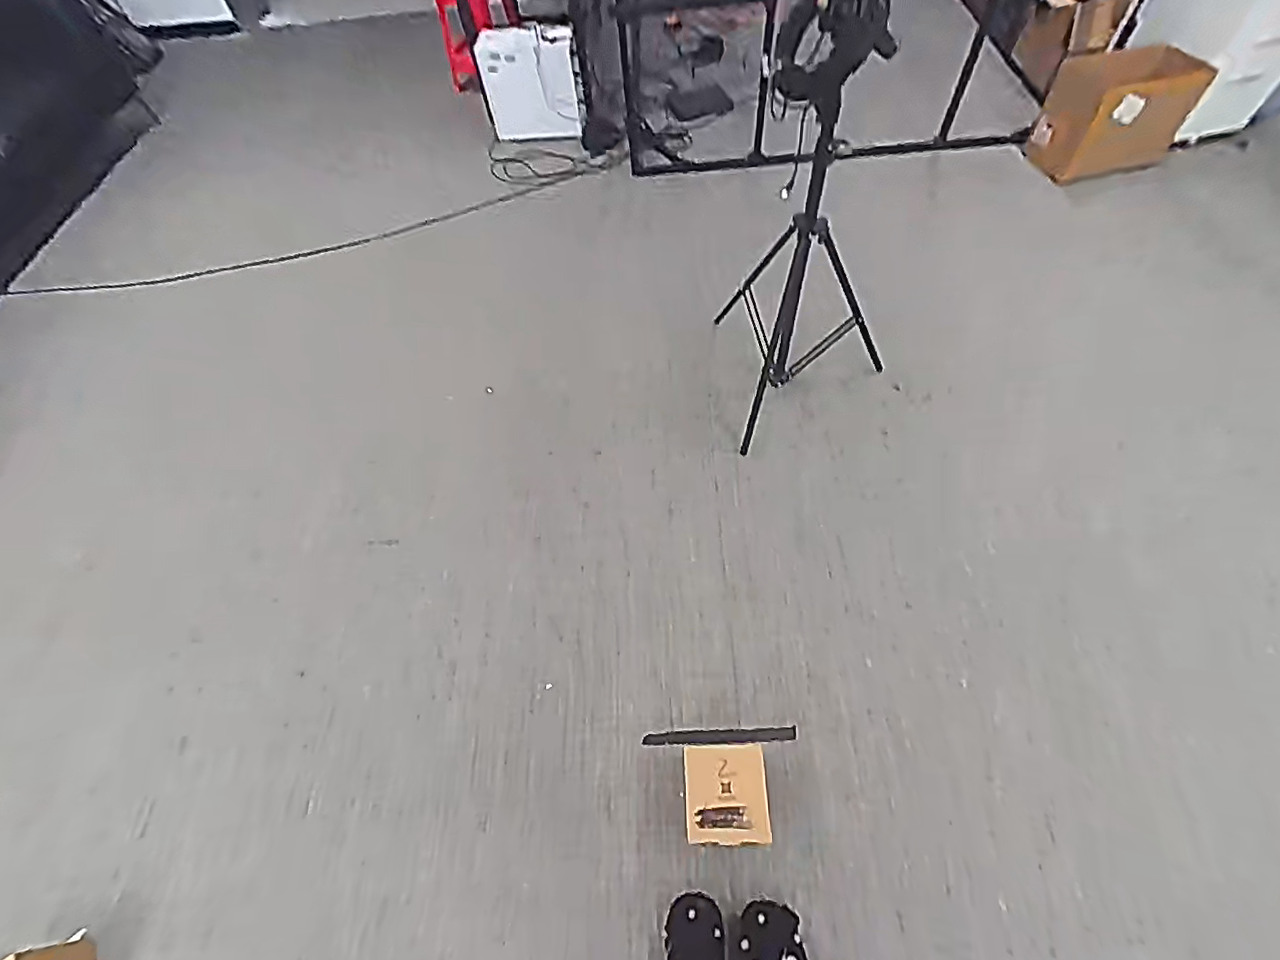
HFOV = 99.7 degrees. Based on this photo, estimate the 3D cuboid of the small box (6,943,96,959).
[{"bbox_3d":[-1.219,1.062,1.058,0.168,0.176,0.179,-35,60,-16],"label":"small box"}]
